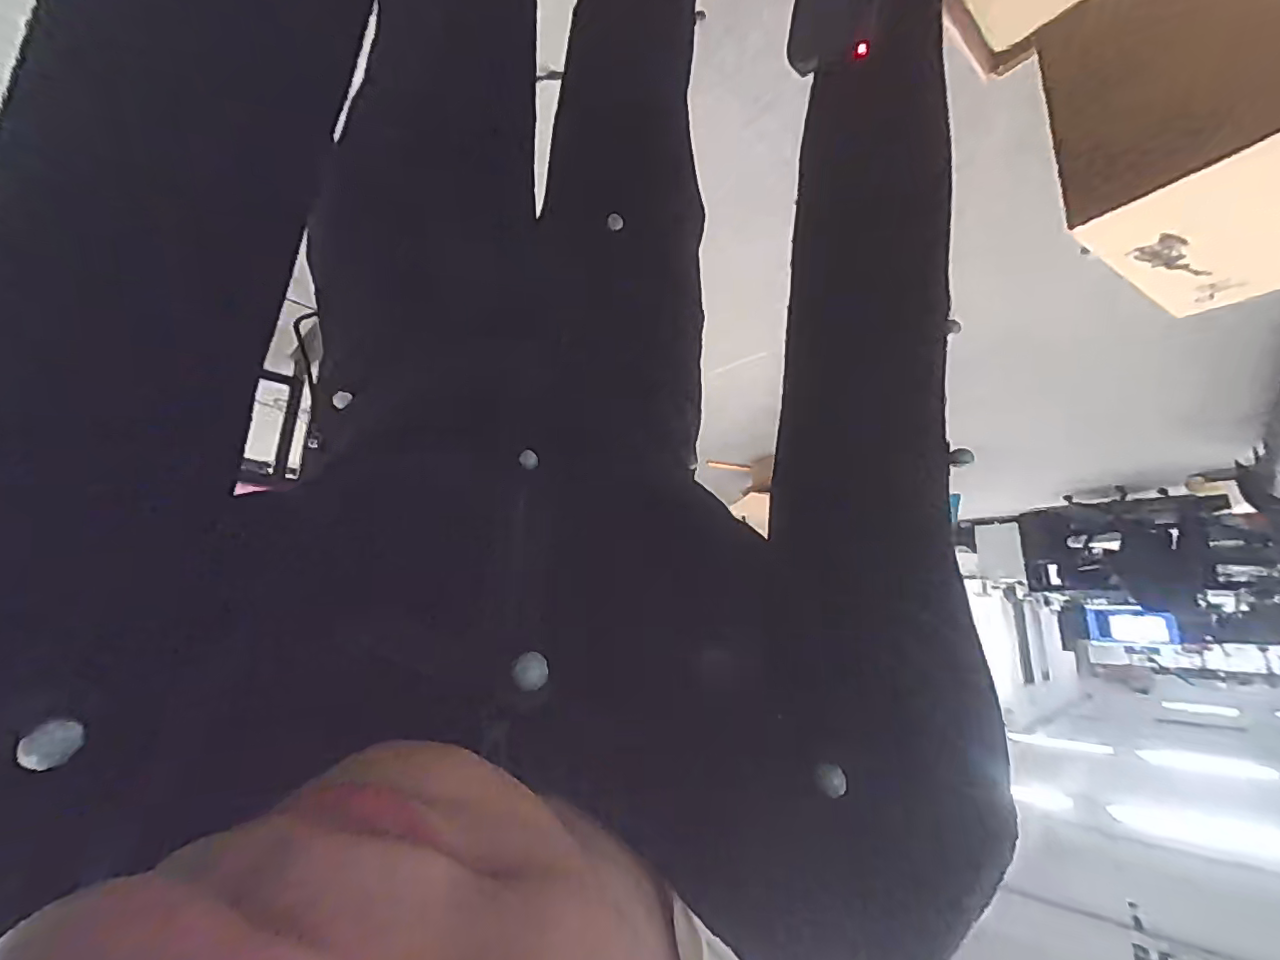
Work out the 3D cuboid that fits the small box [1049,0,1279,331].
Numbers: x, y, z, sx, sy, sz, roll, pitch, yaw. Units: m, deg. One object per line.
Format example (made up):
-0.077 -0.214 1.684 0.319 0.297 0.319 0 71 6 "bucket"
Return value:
0.359 -0.211 0.283 0.168 0.176 0.179 11 163 -29 "small box"
